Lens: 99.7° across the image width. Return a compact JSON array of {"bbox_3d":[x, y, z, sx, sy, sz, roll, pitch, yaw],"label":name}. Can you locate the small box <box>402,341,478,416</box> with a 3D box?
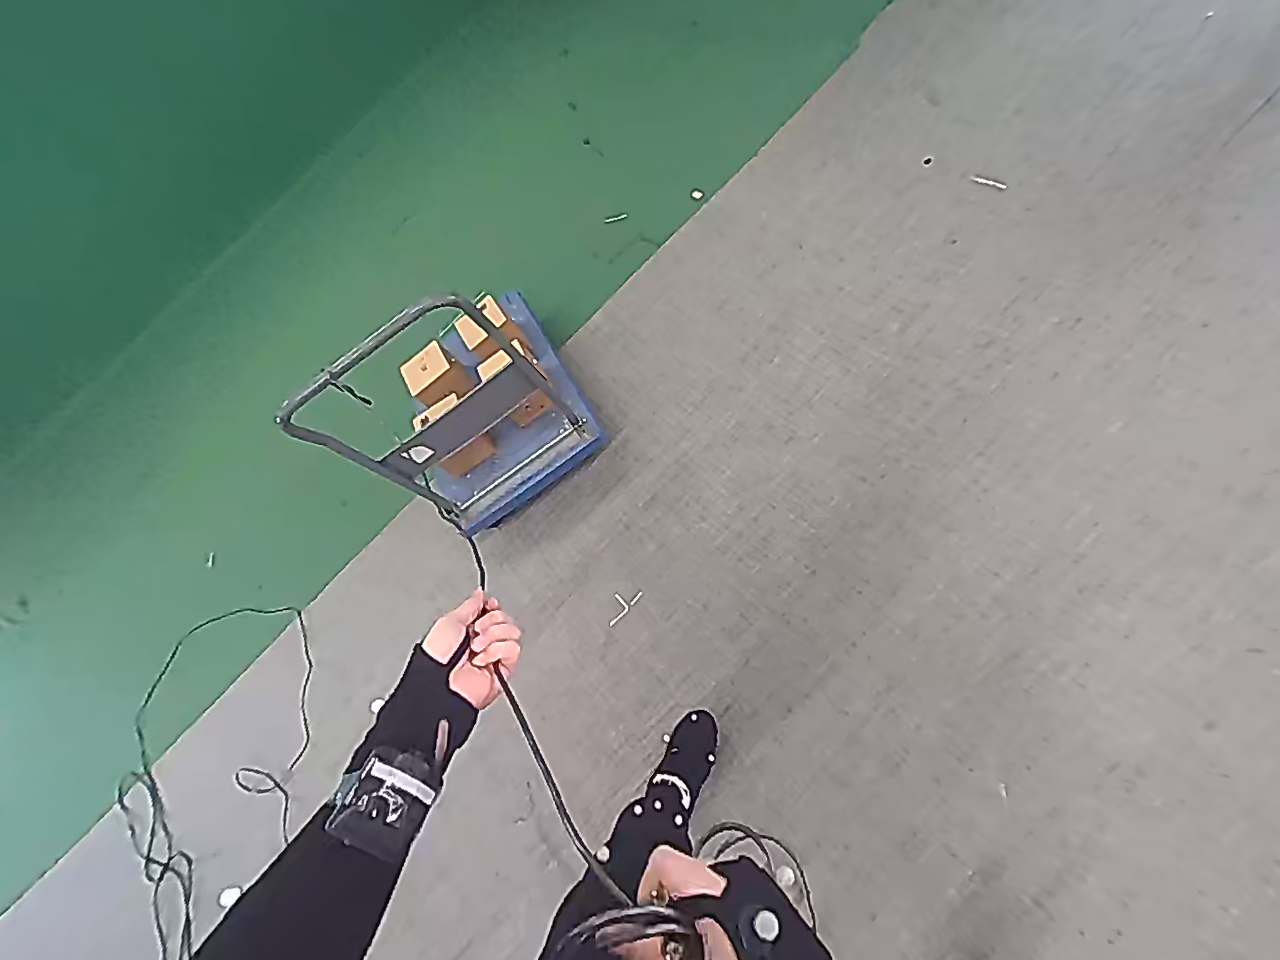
[{"bbox_3d":[-0.713,-0.355,1.940,0.168,0.176,0.179,-38,57,3],"label":"small box"}]

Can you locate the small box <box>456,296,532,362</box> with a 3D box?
[{"bbox_3d":[-0.516,-0.511,1.925,0.168,0.176,0.179,-38,57,4],"label":"small box"}]

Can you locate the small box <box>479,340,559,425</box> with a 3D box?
[{"bbox_3d":[-0.397,-0.316,1.779,0.168,0.176,0.179,-34,57,6],"label":"small box"}]
